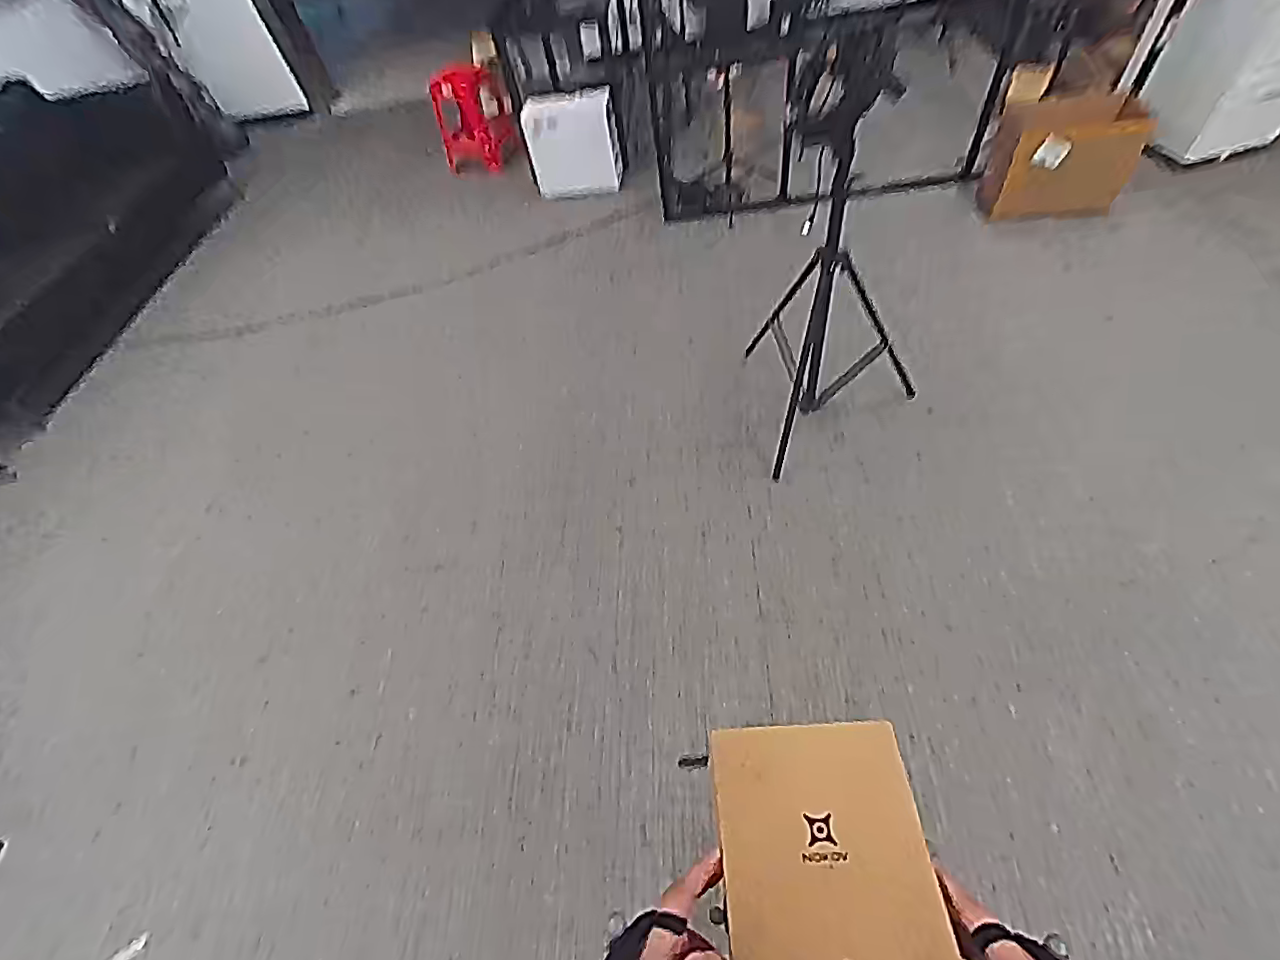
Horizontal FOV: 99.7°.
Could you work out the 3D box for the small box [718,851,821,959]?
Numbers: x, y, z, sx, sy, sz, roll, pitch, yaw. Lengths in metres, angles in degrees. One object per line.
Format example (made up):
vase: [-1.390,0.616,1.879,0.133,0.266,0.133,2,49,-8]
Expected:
small box: [0.247,0.833,1.053,0.168,0.176,0.179,-7,53,5]
